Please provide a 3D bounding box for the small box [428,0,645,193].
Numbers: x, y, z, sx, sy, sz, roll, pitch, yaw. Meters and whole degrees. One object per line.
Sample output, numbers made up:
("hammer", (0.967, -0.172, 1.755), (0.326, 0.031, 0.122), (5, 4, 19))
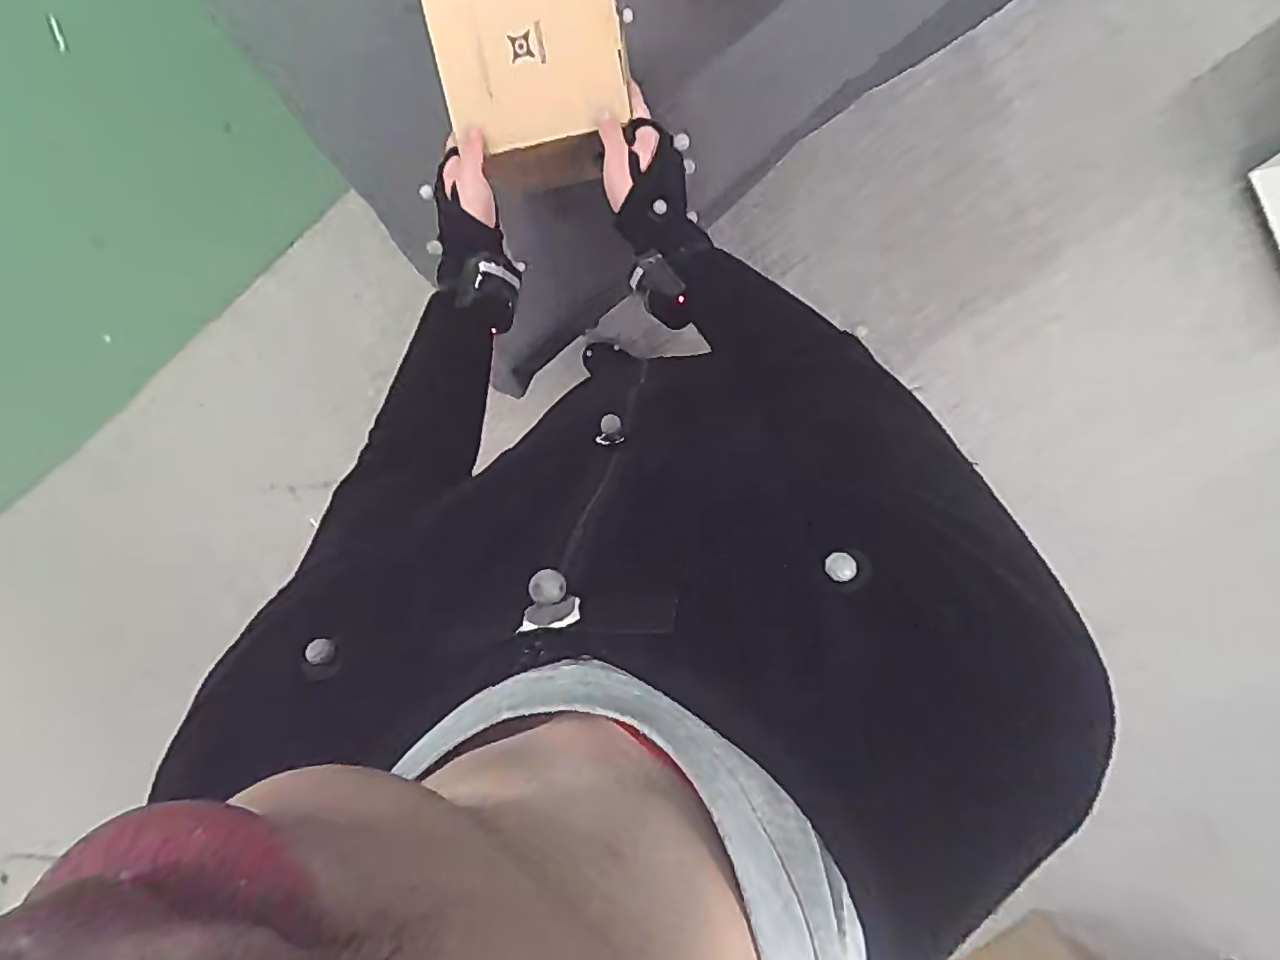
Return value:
("small box", (-0.092, -0.421, 0.562), (0.179, 0.176, 0.168), (-9, 104, 7))
